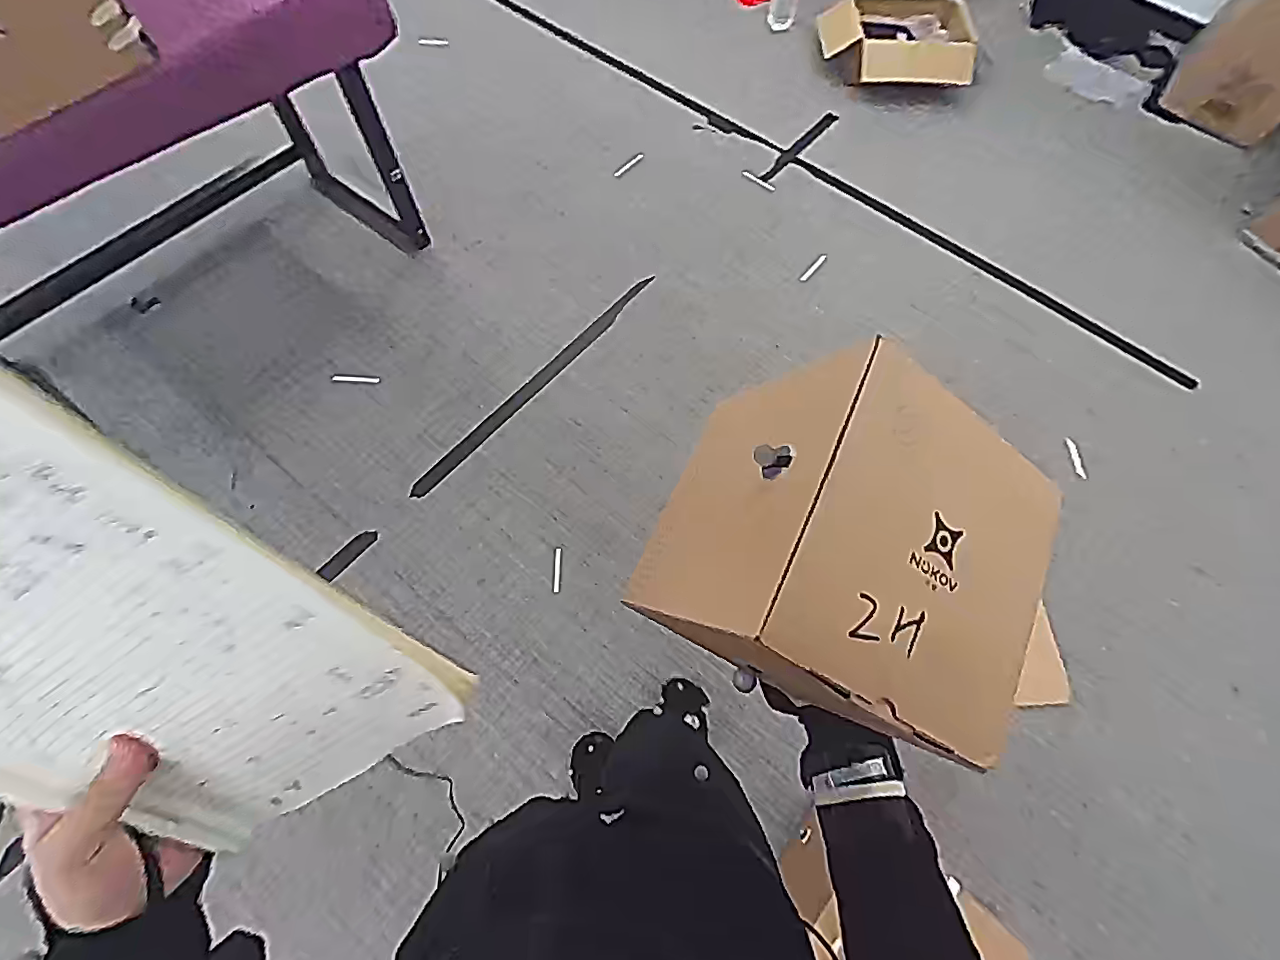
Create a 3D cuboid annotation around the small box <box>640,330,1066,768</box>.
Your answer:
[{"bbox_3d":[0.123,0.043,0.351,0.168,0.176,0.179,32,73,-16],"label":"small box"}]
